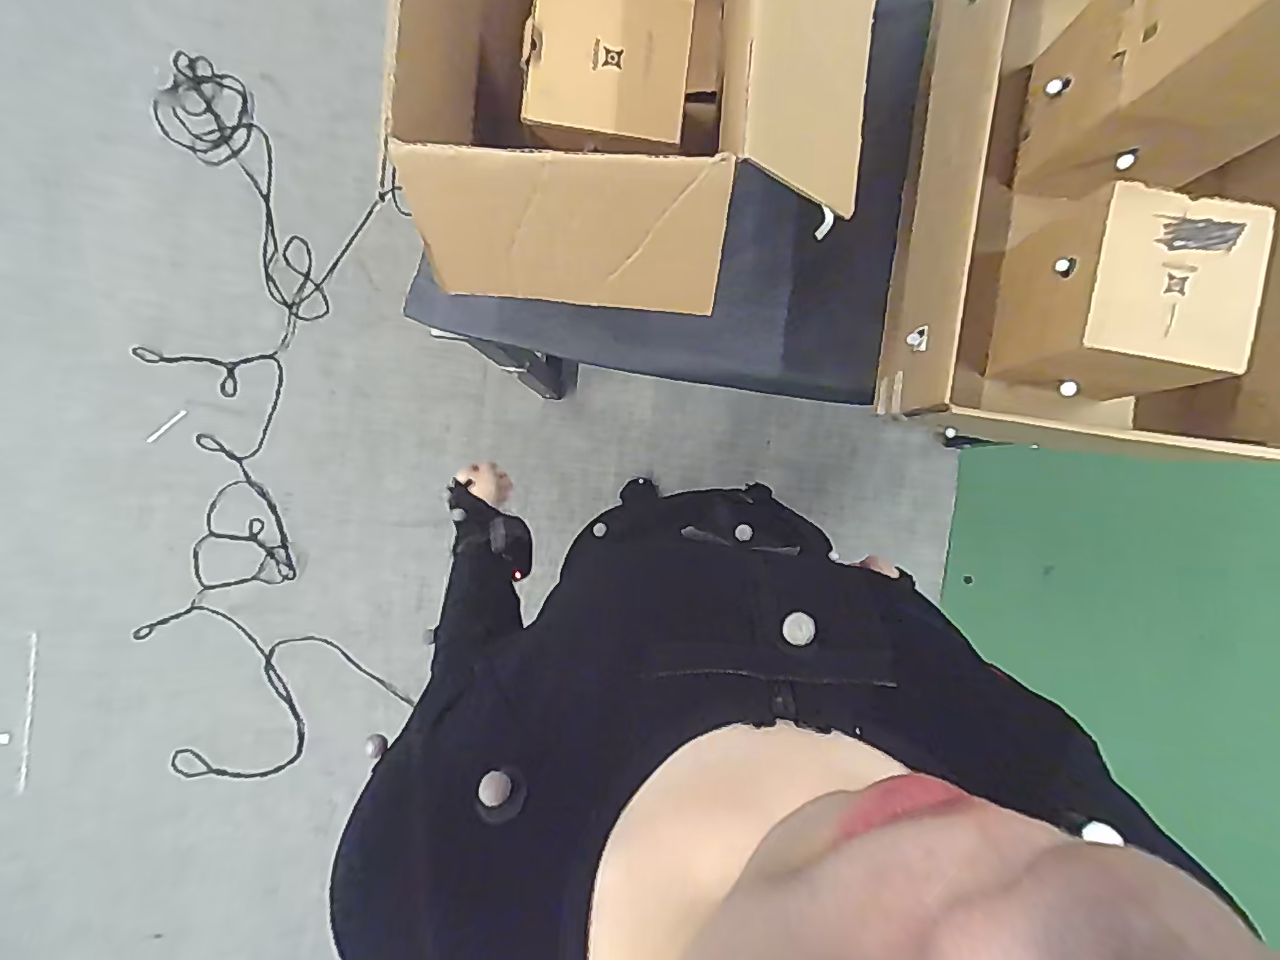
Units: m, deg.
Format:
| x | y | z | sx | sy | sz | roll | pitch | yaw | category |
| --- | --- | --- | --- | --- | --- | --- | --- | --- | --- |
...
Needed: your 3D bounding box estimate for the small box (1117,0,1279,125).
| x | y | z | sx | sy | sz | roll | pitch | yaw | category |
| --- | --- | --- | --- | --- | --- | --- | --- | --- | --- |
| 0.573 | -0.443 | 0.467 | 0.179 | 0.176 | 0.168 | 7 | 92 | 1 | small box |
